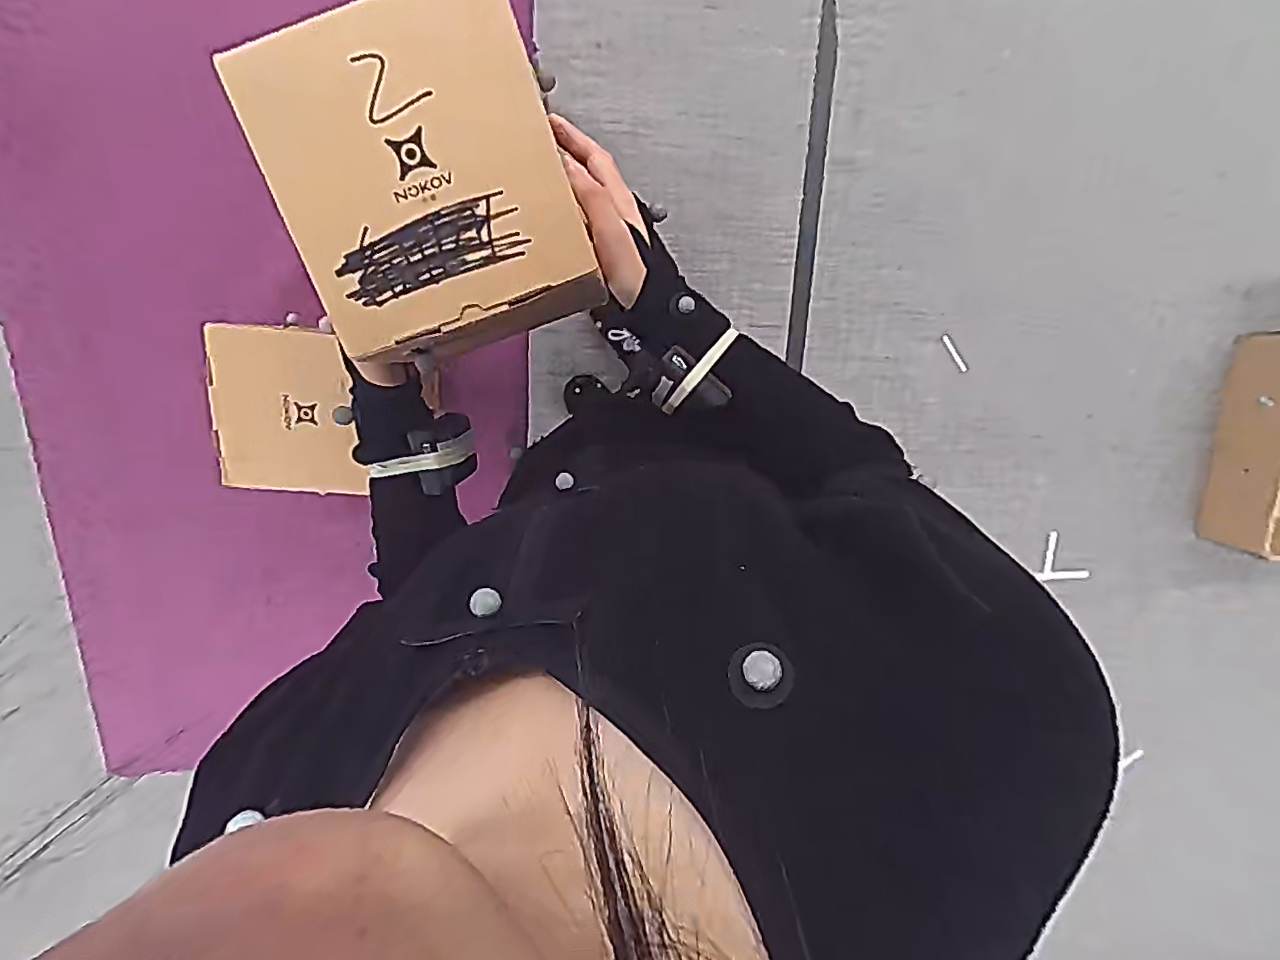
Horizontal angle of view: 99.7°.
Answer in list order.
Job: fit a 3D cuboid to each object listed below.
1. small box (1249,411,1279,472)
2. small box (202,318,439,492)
[{"bbox_3d":[1.879,-0.106,1.501,0.179,0.176,0.168,-5,103,-3],"label":"small box"},{"bbox_3d":[-0.344,-0.091,0.619,0.179,0.176,0.168,3,105,-5],"label":"small box"}]
